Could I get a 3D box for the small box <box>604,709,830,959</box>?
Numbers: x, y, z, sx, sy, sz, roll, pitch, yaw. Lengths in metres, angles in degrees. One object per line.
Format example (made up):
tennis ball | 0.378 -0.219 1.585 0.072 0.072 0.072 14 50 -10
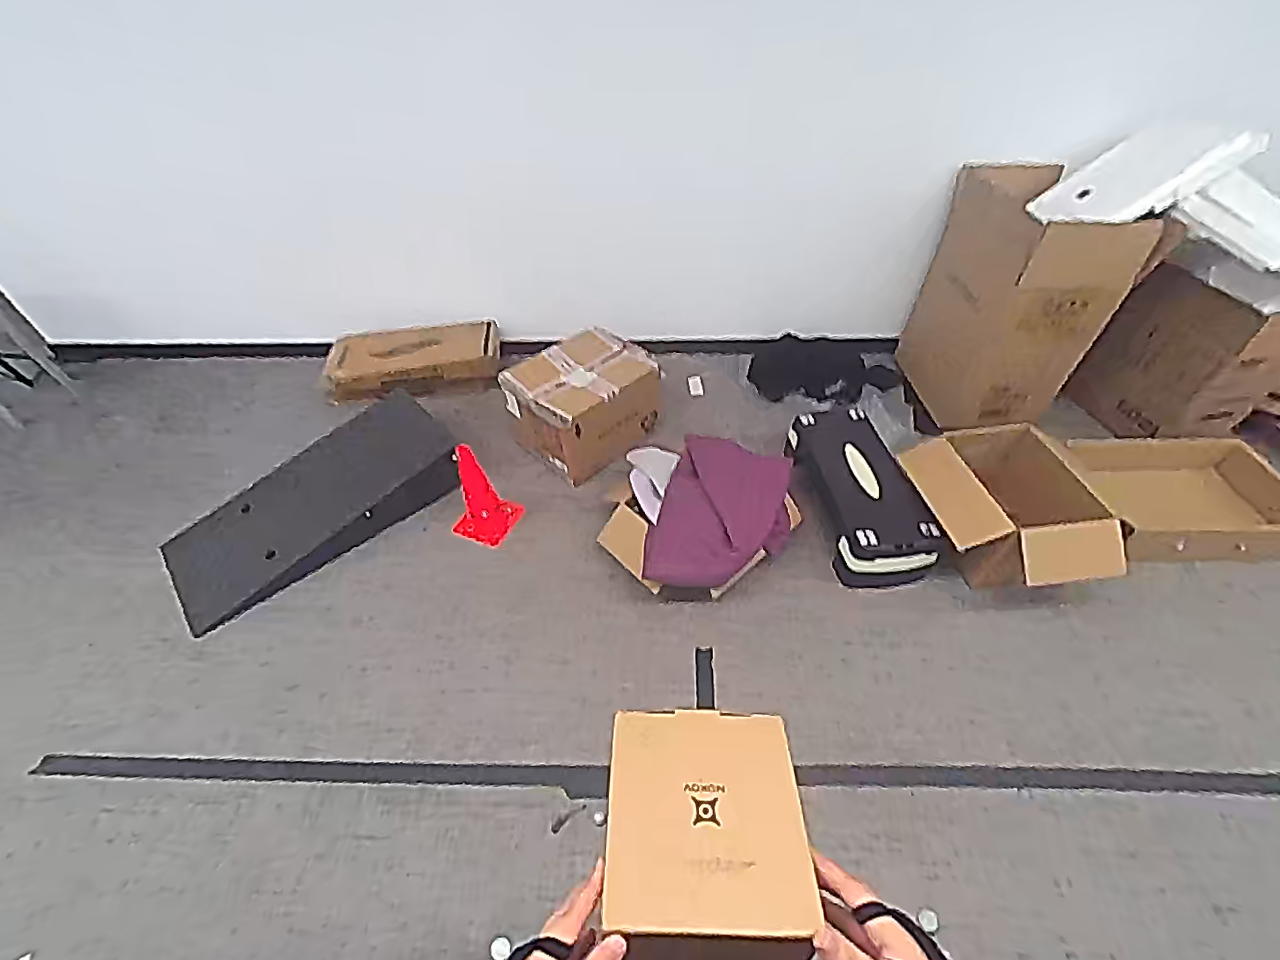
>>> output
small box | 0.055 0.340 0.499 0.168 0.176 0.179 2 38 1
